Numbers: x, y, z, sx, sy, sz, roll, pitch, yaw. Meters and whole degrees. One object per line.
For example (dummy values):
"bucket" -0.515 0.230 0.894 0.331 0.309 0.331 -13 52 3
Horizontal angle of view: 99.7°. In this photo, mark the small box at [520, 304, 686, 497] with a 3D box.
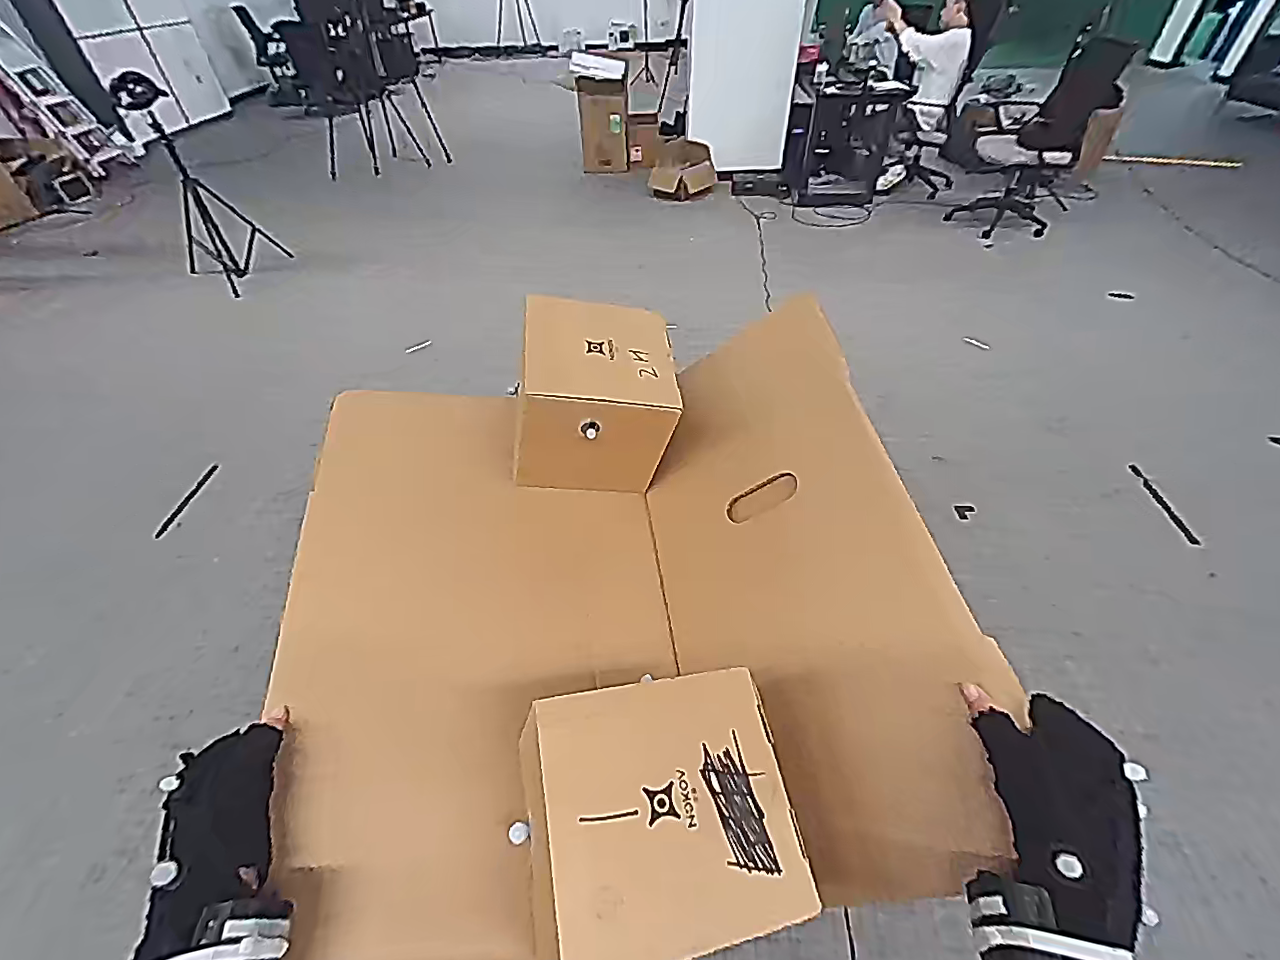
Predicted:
"small box" -0.057 -0.093 0.686 0.179 0.176 0.168 5 54 -15
